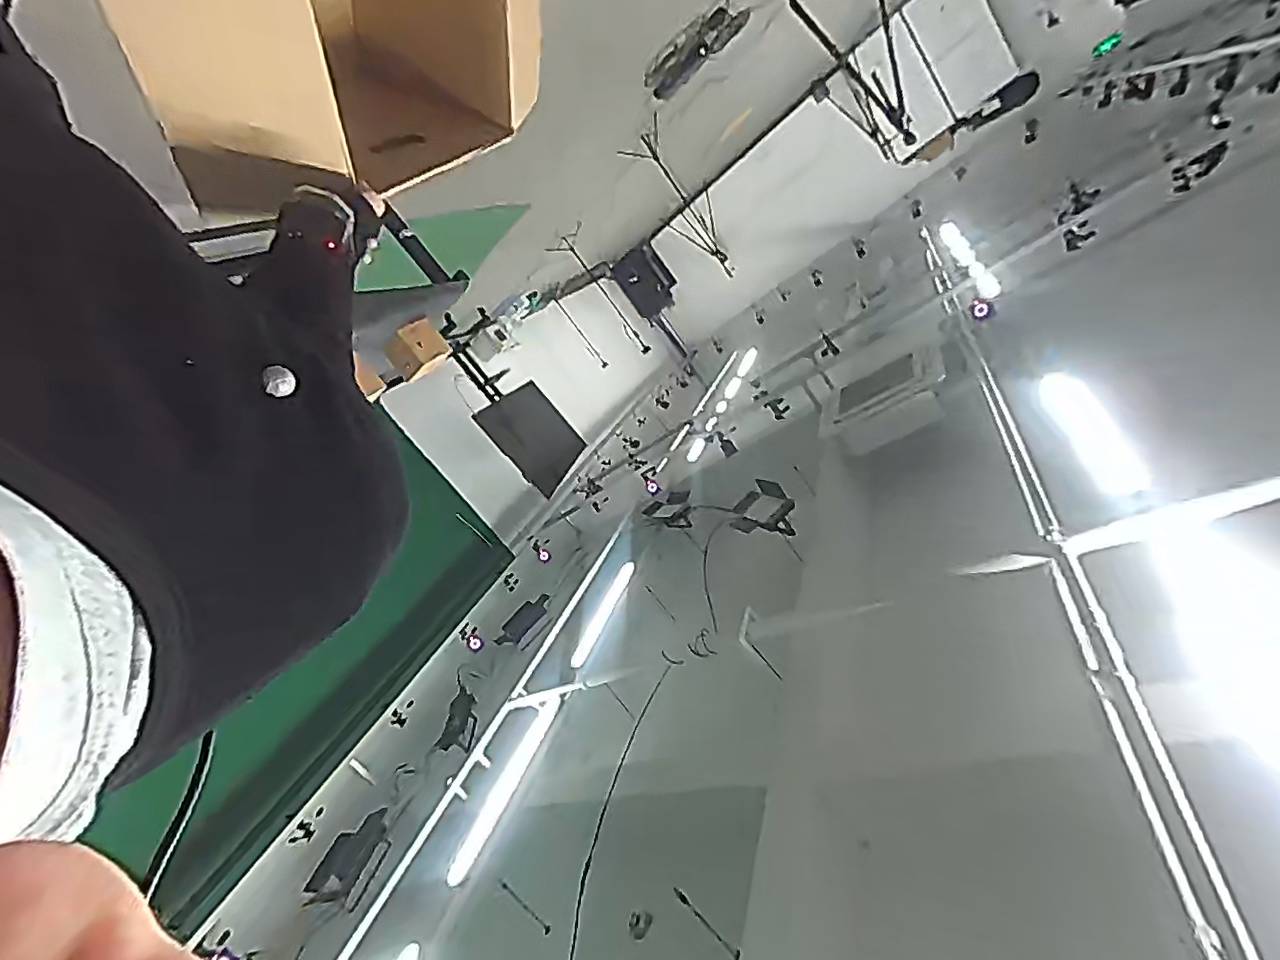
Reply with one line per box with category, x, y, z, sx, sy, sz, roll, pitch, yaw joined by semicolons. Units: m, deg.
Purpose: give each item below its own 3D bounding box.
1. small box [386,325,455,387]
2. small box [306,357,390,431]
small box;-0.908;-0.517;2.227;0.179;0.176;0.168;-25;-163;43
small box;-1.060;-0.315;1.958;0.168;0.176;0.179;-31;-166;33
